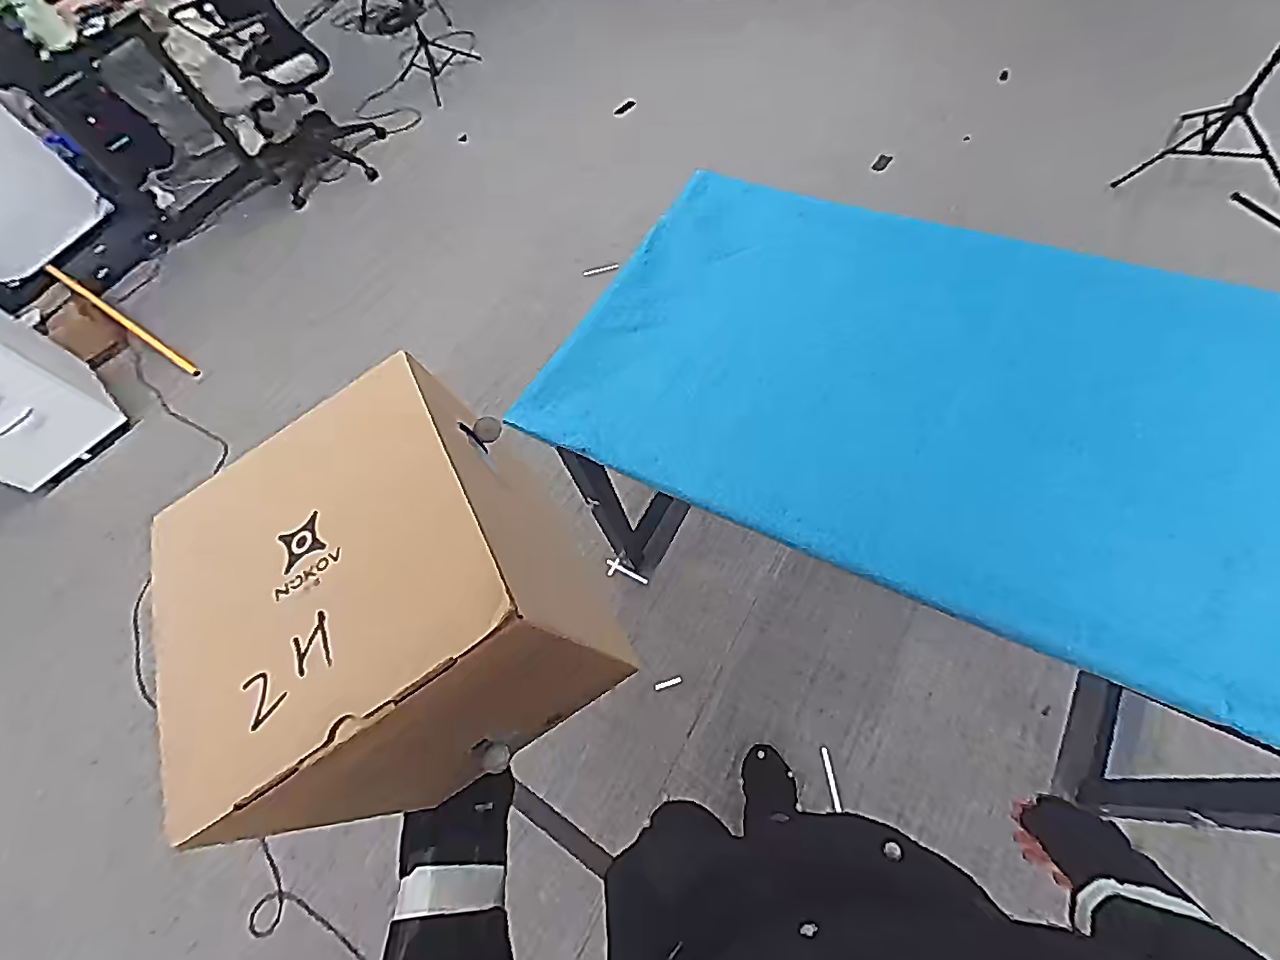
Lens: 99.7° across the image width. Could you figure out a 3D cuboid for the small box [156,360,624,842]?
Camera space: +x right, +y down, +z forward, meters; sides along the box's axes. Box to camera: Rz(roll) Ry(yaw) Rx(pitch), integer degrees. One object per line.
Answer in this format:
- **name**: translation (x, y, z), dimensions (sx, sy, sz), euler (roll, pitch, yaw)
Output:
- **small box**: translation (-0.133, 0.071, 0.323), dimensions (0.168, 0.176, 0.179), euler (-32, 62, 4)
